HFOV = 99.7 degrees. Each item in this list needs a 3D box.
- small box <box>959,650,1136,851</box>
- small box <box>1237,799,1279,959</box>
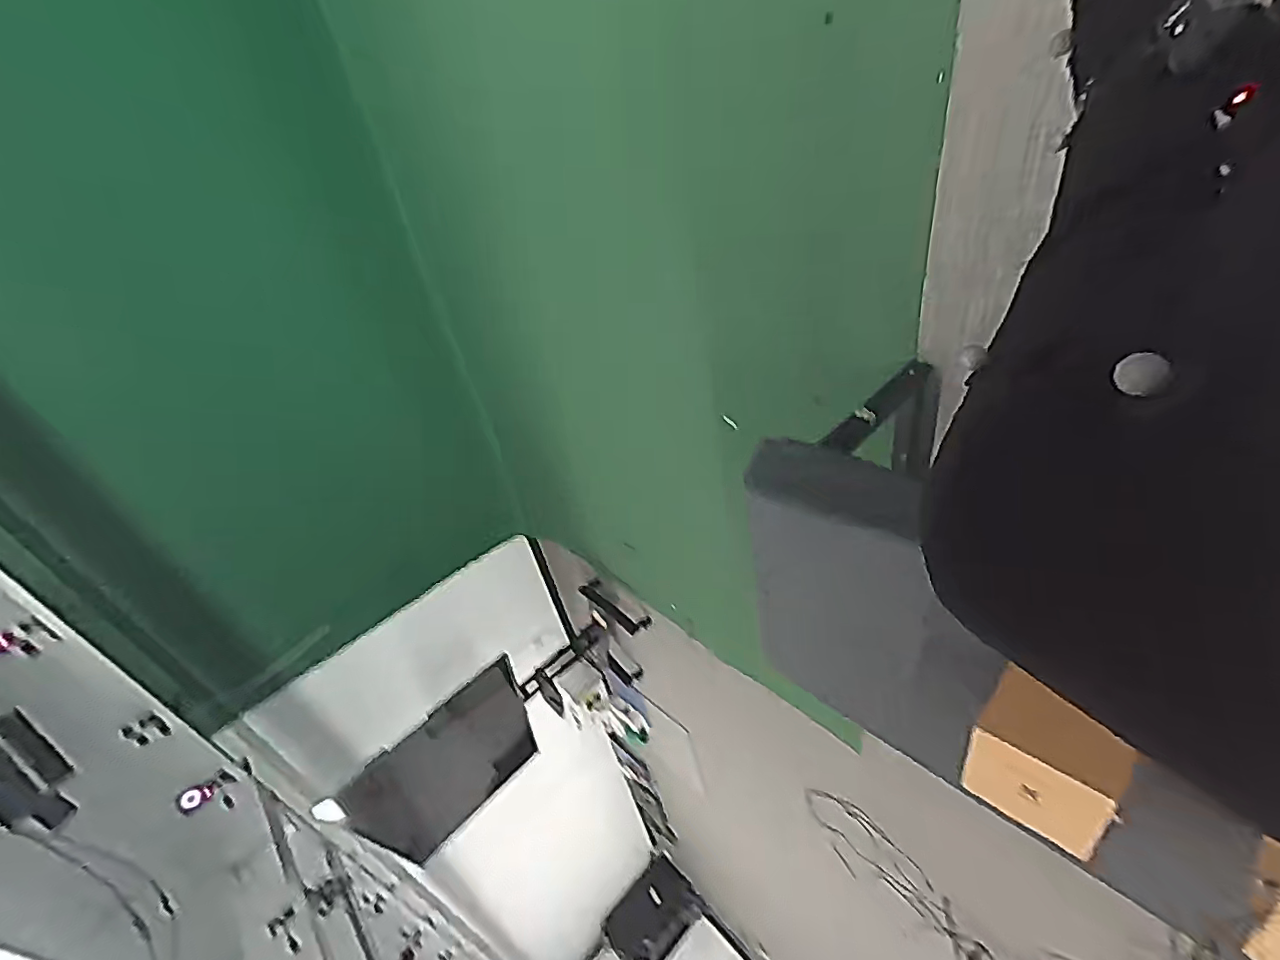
[{"bbox_3d":[0.615,0.400,0.824,0.168,0.176,0.179,21,136,43],"label":"small box"},{"bbox_3d":[0.815,0.471,0.598,0.168,0.176,0.179,20,138,46],"label":"small box"}]
